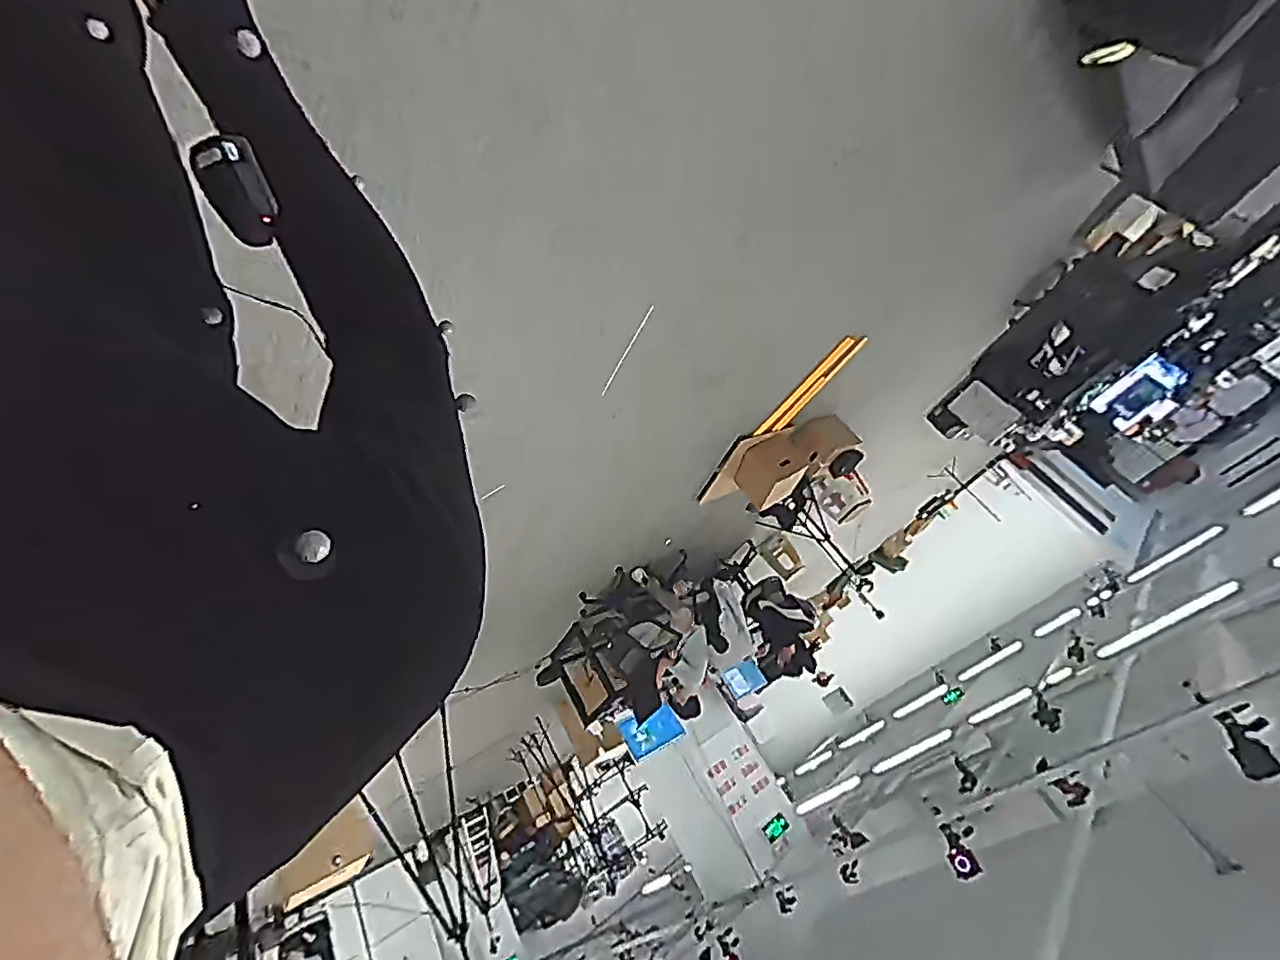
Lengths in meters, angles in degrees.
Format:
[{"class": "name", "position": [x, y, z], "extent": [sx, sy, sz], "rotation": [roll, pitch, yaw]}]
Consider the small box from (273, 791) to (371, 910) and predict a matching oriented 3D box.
[{"class": "small box", "position": [-0.781, 0.898, 1.322], "extent": [0.168, 0.176, 0.179], "rotation": [-8, 145, -43]}]
